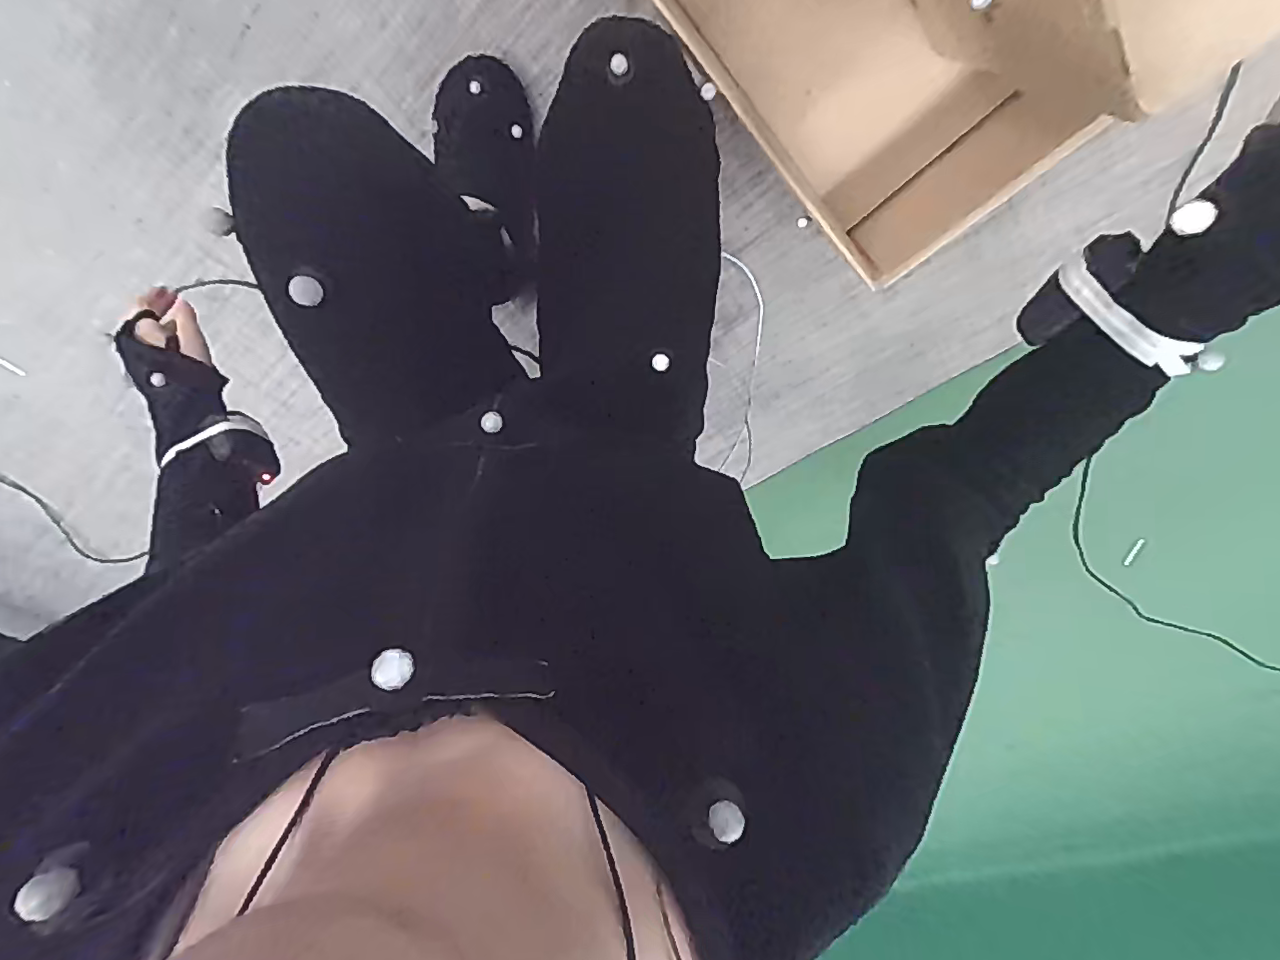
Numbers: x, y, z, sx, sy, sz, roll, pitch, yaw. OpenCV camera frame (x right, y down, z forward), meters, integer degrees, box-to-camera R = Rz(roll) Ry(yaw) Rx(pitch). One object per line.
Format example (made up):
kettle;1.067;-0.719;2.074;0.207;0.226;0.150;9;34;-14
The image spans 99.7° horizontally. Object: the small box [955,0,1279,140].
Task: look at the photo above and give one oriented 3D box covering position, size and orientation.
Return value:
small box;0.292;-0.339;0.295;0.179;0.176;0.168;-33;124;29
